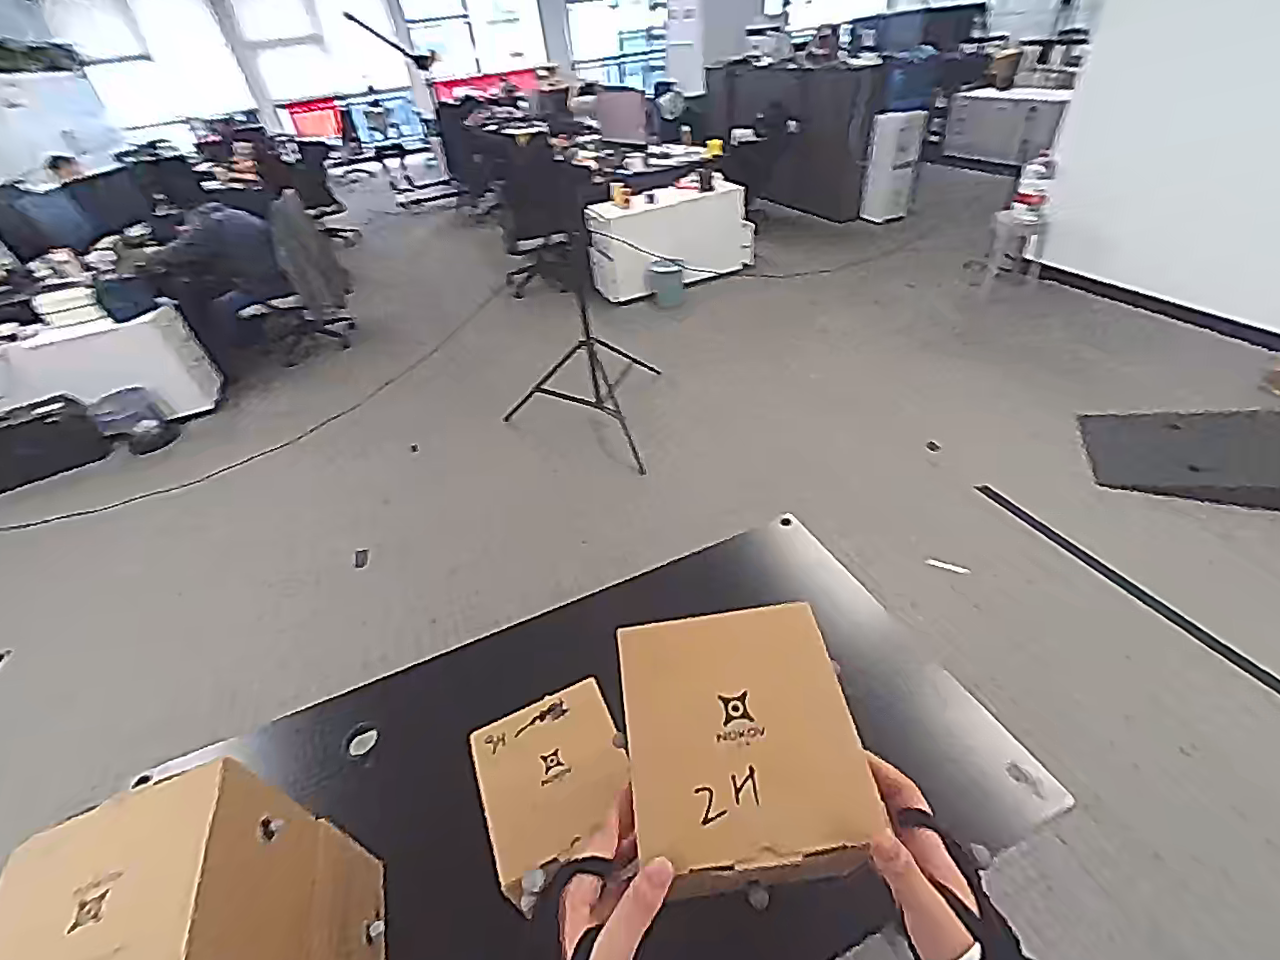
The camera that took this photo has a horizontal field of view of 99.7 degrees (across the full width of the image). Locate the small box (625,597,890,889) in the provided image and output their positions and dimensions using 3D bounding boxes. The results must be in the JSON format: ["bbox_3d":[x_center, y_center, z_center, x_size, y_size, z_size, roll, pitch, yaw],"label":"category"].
[{"bbox_3d":[0.081,0.226,0.464,0.168,0.176,0.179,-8,48,0],"label":"small box"}]

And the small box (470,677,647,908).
[{"bbox_3d":[-0.092,0.391,0.673,0.168,0.176,0.179,-21,42,-15],"label":"small box"}]

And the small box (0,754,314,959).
[{"bbox_3d":[-0.411,0.388,0.472,0.168,0.176,0.179,-21,42,-13],"label":"small box"}]

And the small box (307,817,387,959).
[{"bbox_3d":[-0.392,0.510,0.577,0.179,0.176,0.168,-18,41,-14],"label":"small box"}]
